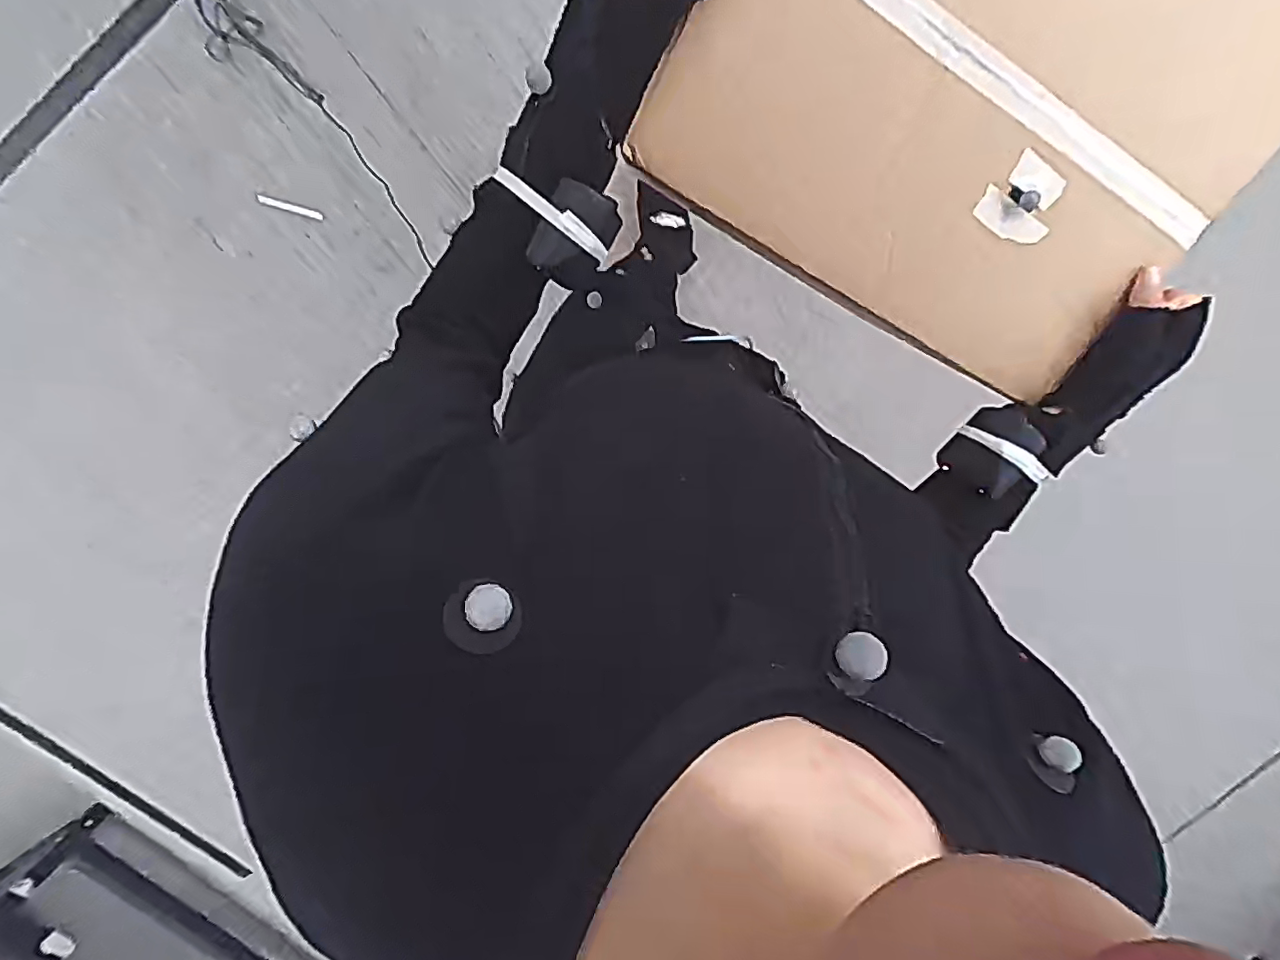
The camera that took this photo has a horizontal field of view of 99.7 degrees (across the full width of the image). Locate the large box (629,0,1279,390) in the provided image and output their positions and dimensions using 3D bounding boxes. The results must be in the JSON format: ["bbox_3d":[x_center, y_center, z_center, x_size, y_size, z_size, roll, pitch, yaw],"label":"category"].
[{"bbox_3d":[0.232,-0.345,0.504,0.408,0.320,0.320,25,116,-14],"label":"large box"}]
